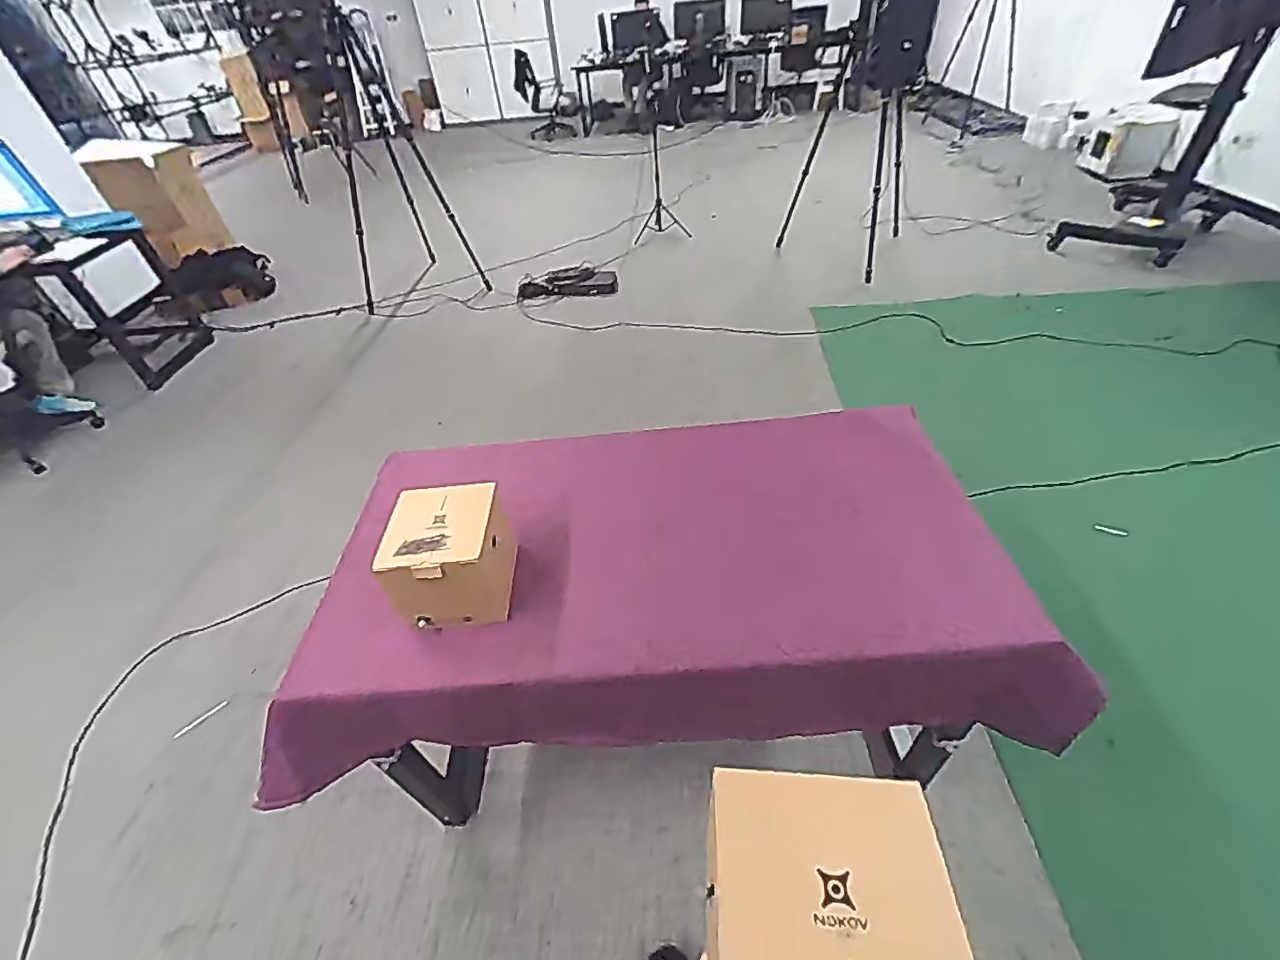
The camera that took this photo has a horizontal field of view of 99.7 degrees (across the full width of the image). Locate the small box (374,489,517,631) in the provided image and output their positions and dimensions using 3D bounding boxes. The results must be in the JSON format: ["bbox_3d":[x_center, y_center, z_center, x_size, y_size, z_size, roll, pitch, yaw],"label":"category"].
[{"bbox_3d":[-0.314,0.141,0.918,0.168,0.176,0.179,-6,41,1],"label":"small box"}]

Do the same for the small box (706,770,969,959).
[{"bbox_3d":[0.137,0.360,0.424,0.168,0.176,0.179,1,39,6],"label":"small box"}]
